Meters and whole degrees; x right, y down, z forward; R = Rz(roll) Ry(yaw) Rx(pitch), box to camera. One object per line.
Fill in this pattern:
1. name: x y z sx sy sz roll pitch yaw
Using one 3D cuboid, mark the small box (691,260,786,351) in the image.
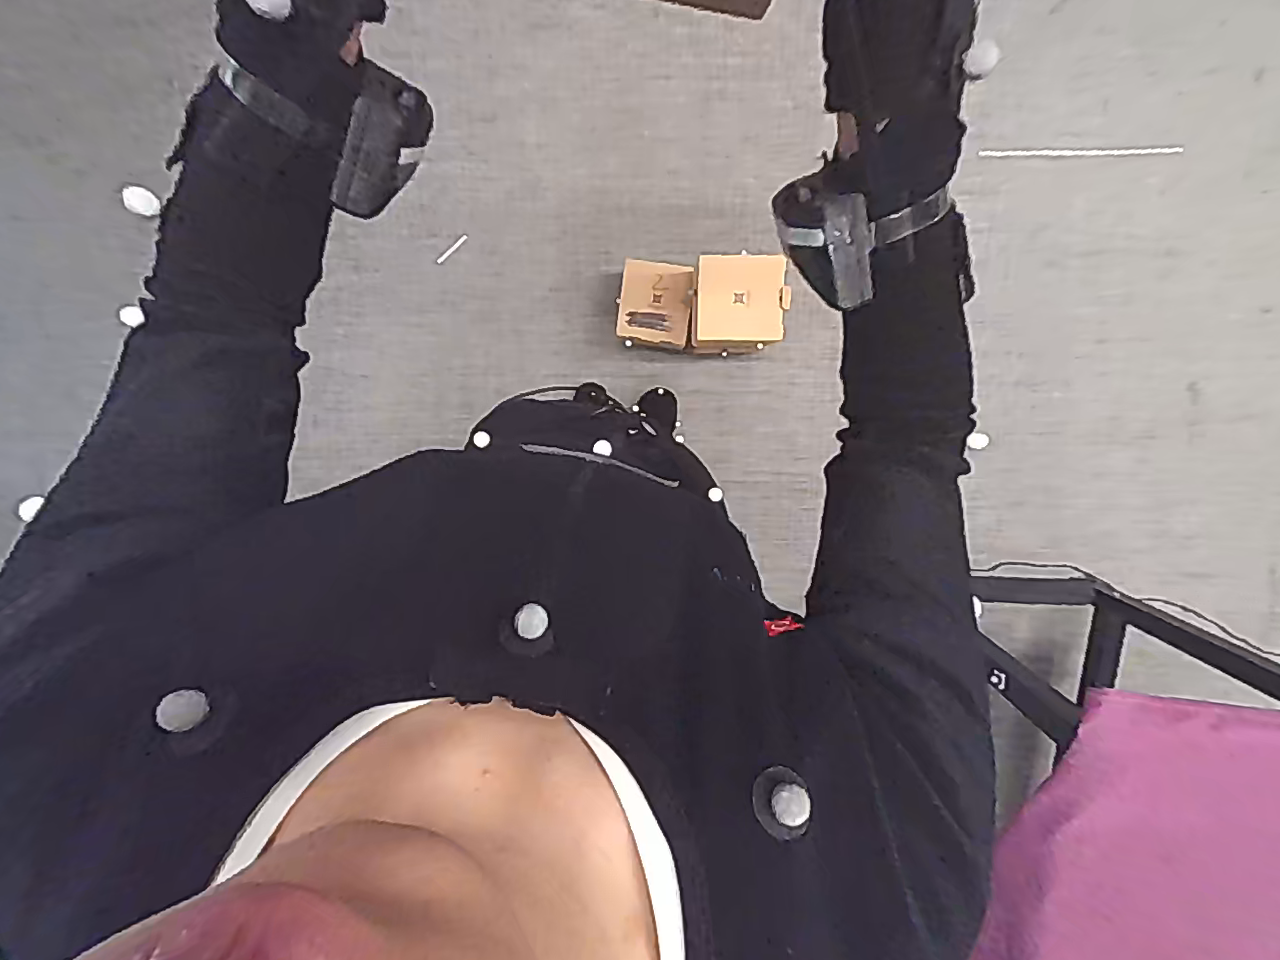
1. small box: 0.203 -0.368 1.161 0.179 0.176 0.168 0 100 0
